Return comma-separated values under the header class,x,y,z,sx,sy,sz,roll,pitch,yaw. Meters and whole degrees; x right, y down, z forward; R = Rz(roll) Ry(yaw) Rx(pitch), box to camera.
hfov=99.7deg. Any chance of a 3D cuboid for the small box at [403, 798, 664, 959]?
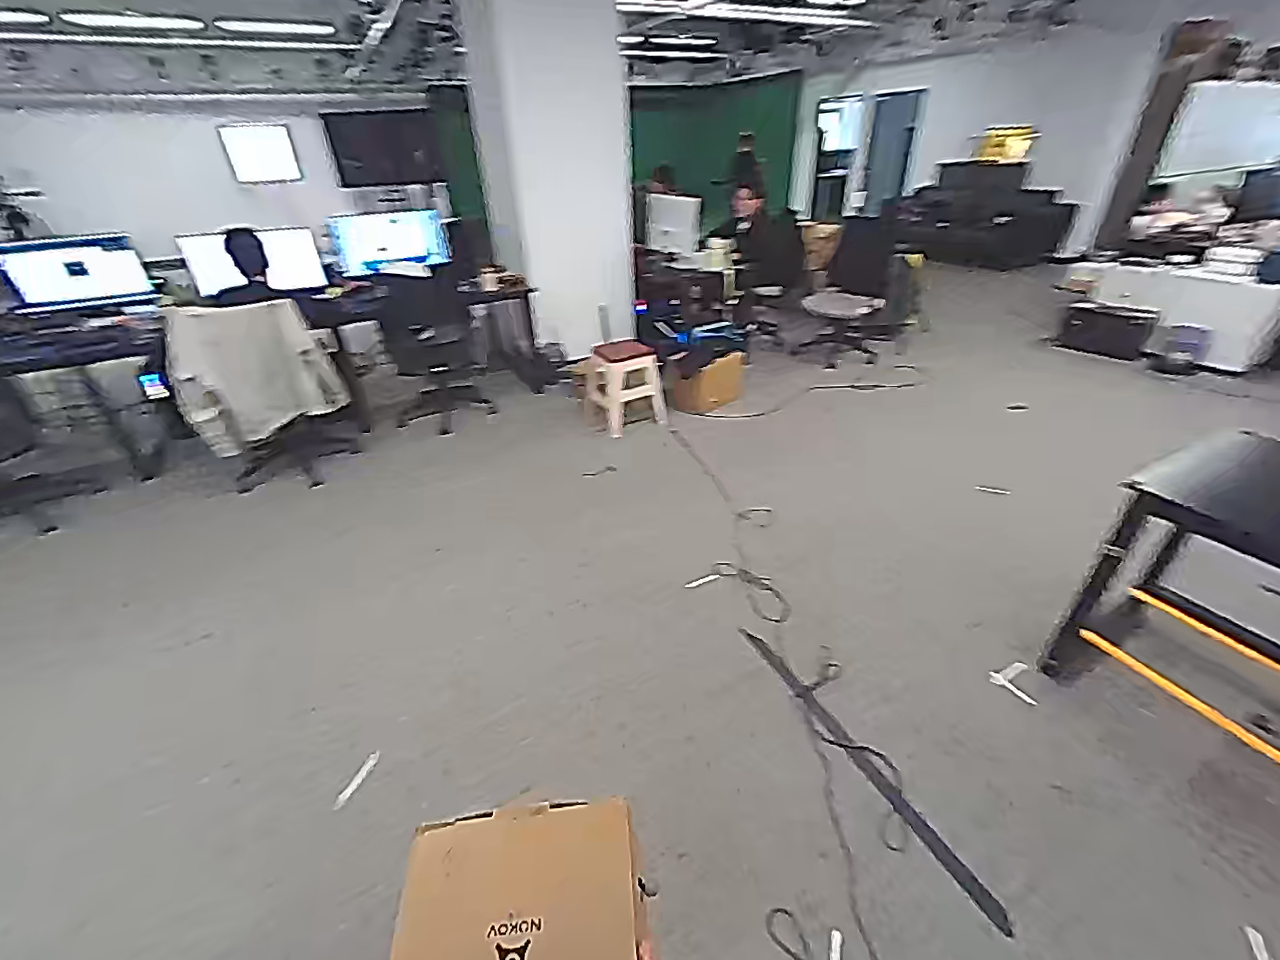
class,x,y,z,sx,sy,sz,roll,pitch,yaw
small box,-0.068,0.368,0.402,0.168,0.176,0.179,-6,41,0
